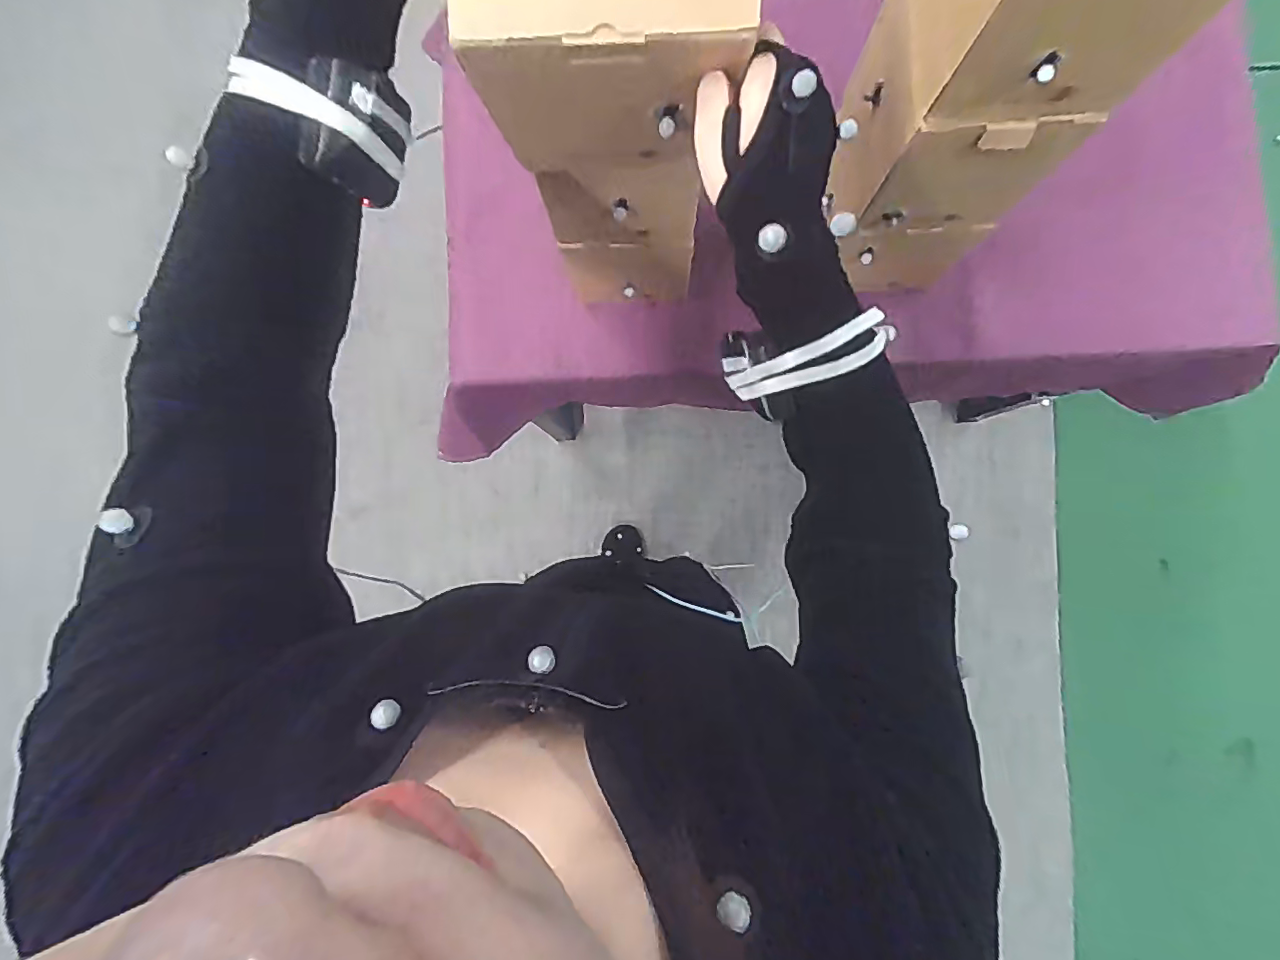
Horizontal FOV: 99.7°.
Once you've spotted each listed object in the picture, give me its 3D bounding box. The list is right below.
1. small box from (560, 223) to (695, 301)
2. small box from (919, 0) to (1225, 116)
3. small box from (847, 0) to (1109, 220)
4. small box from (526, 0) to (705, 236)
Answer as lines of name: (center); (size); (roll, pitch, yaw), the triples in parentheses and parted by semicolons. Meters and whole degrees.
small box: (-0.014, -0.361, 0.734); (0.168, 0.176, 0.179); (-1, 86, 2)
small box: (0.325, -0.413, 0.399); (0.168, 0.176, 0.179); (-3, 86, 1)
small box: (0.328, -0.391, 0.560); (0.168, 0.176, 0.179); (-2, 84, 2)
small box: (-0.019, -0.377, 0.570); (0.168, 0.176, 0.179); (-1, 86, 1)
